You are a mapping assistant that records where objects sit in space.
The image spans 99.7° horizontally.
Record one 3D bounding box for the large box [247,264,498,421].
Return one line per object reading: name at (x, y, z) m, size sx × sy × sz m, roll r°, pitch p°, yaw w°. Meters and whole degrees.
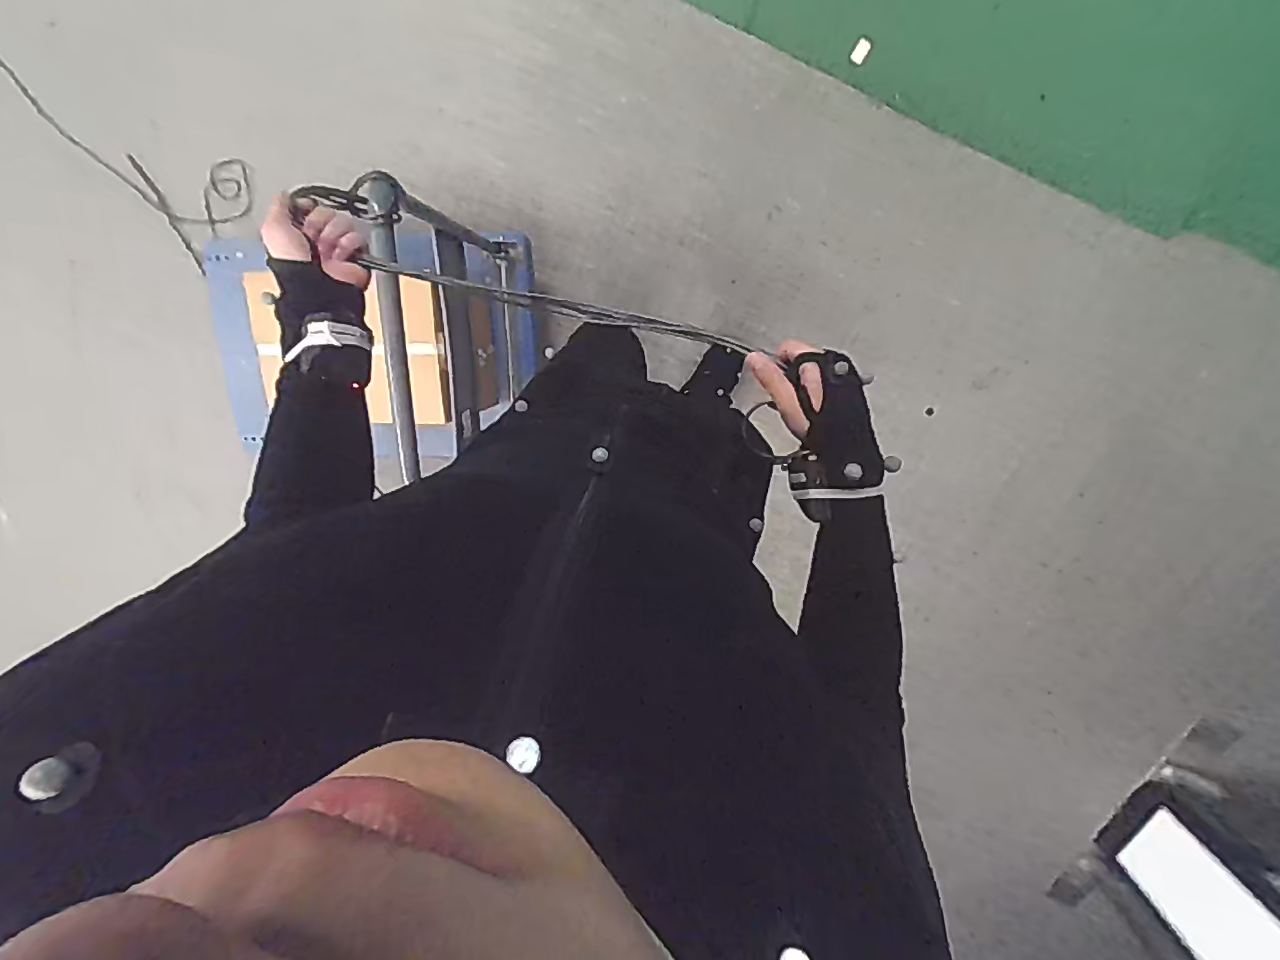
large box at (-0.588, -0.317, 1.263) m, size 0.408 × 0.320 × 0.320 m, roll 2°, pitch 105°, yaw 6°
